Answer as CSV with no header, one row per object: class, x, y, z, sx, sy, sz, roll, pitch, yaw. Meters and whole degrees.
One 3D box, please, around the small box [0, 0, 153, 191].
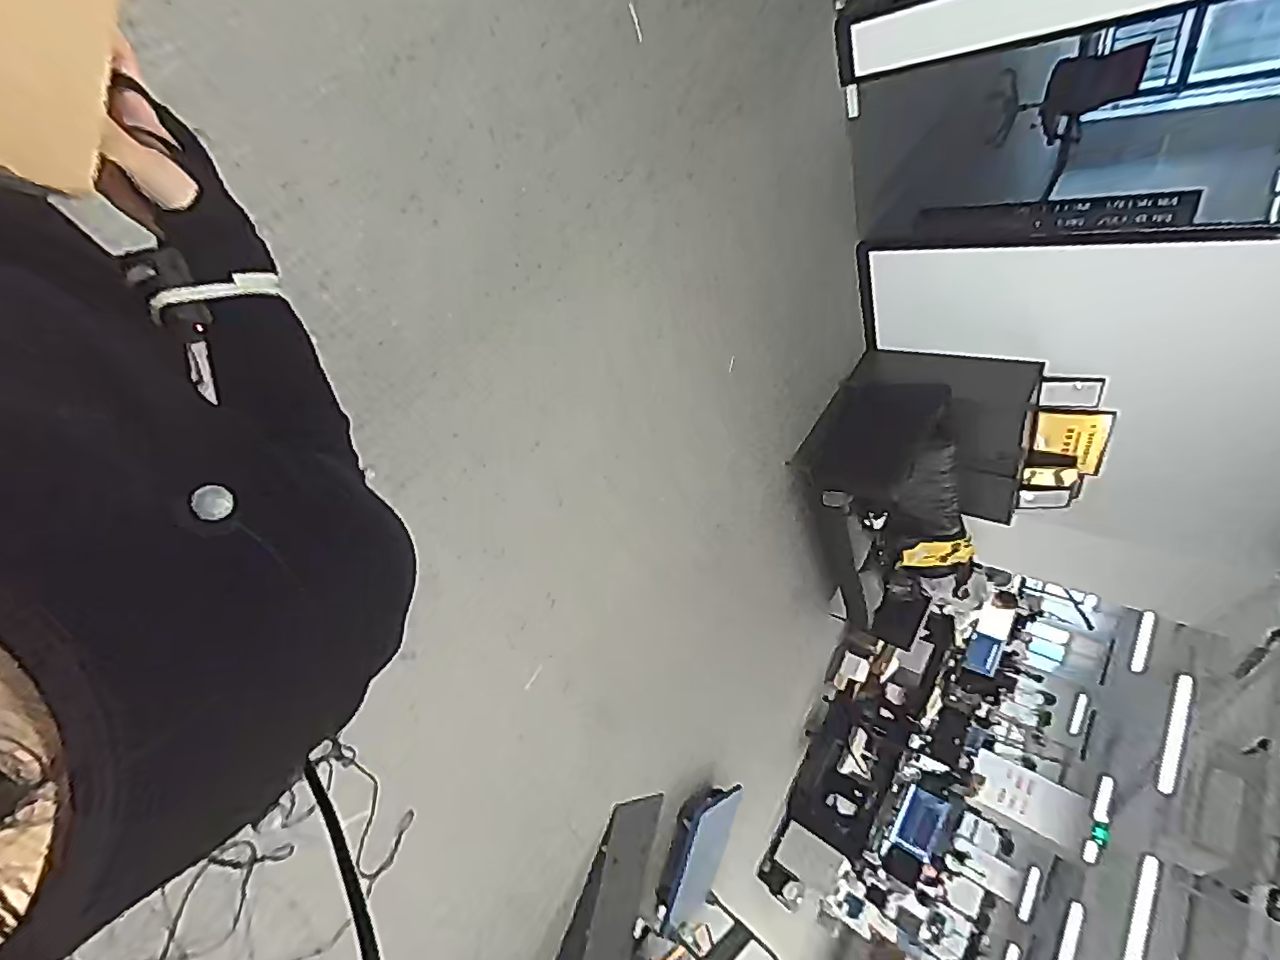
small box,-0.377,-0.273,0.265,0.168,0.176,0.179,7,103,-59
